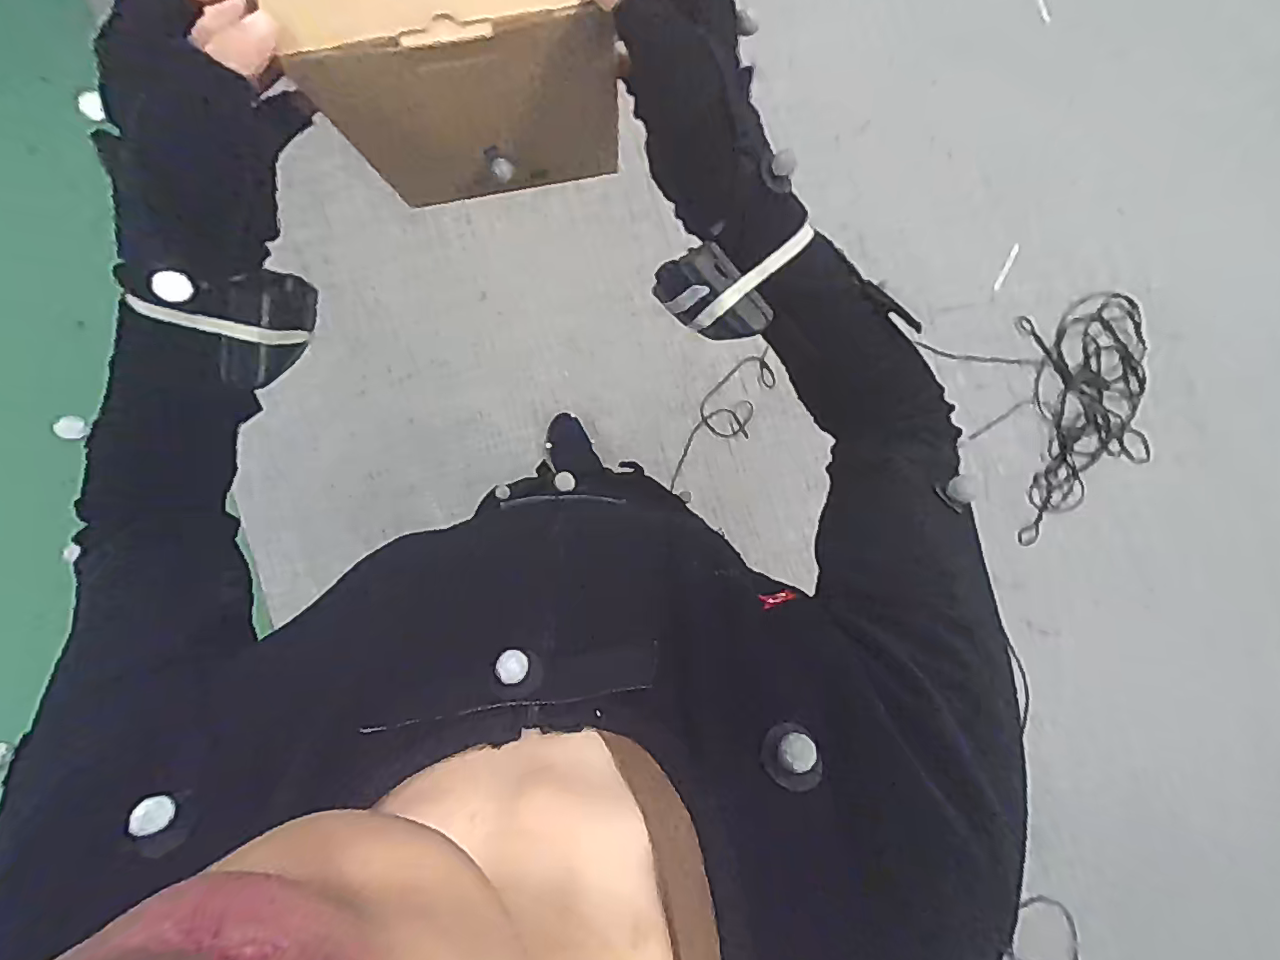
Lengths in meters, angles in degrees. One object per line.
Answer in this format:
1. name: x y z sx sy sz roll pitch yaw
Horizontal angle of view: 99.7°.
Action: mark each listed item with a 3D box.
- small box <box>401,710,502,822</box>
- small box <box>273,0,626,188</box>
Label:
1. small box: -0.470 0.710 1.372 0.168 0.176 0.179 -21 89 0
2. small box: -0.104 -0.313 0.325 0.168 0.176 0.179 -10 93 0
